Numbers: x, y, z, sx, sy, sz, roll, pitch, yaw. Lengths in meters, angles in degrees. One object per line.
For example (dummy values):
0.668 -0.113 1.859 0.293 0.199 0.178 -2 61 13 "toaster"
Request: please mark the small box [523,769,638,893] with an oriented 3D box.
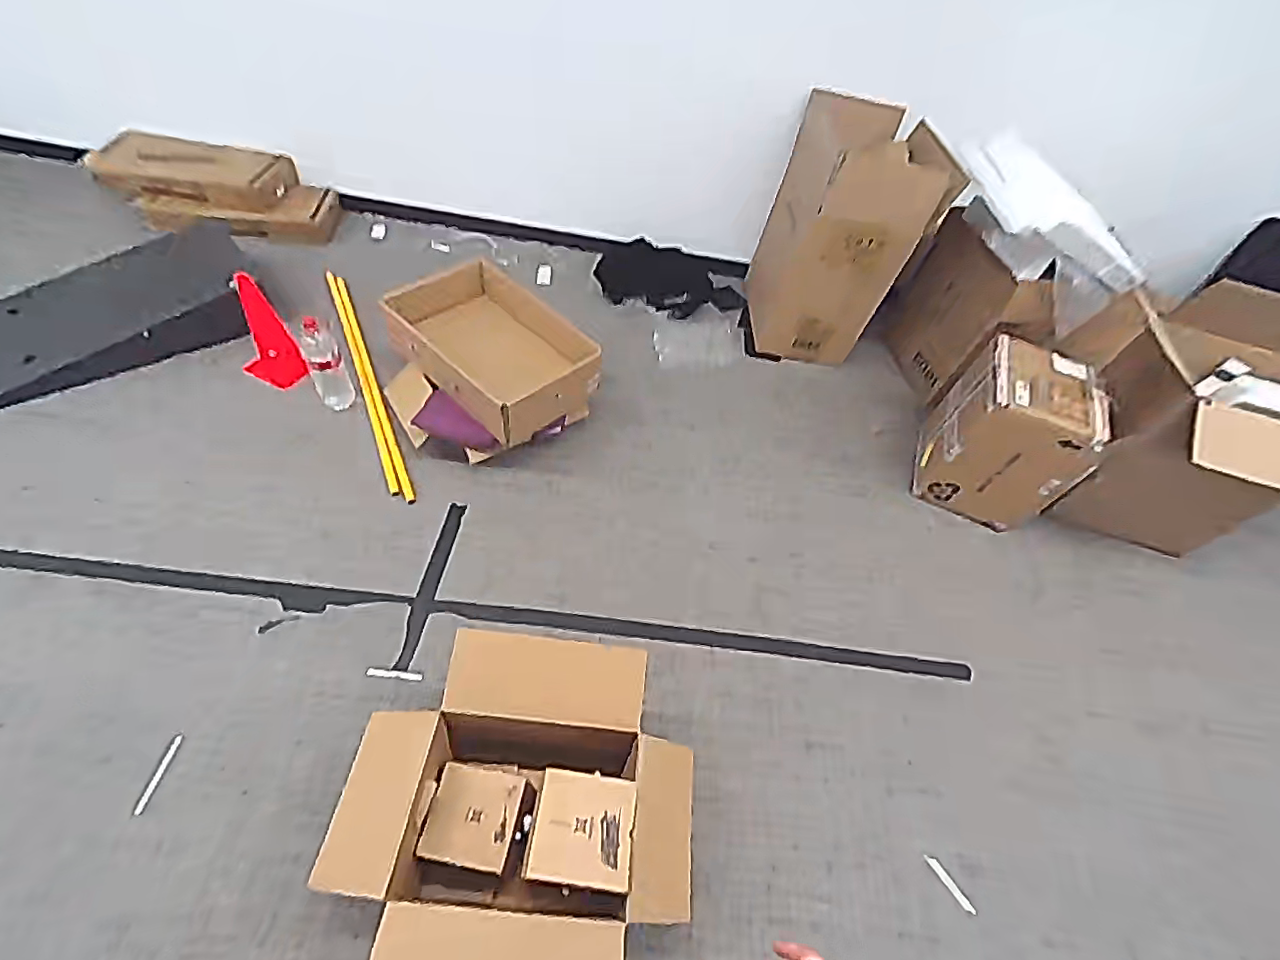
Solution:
-0.113 0.657 1.010 0.179 0.176 0.168 12 51 -5 "small box"
